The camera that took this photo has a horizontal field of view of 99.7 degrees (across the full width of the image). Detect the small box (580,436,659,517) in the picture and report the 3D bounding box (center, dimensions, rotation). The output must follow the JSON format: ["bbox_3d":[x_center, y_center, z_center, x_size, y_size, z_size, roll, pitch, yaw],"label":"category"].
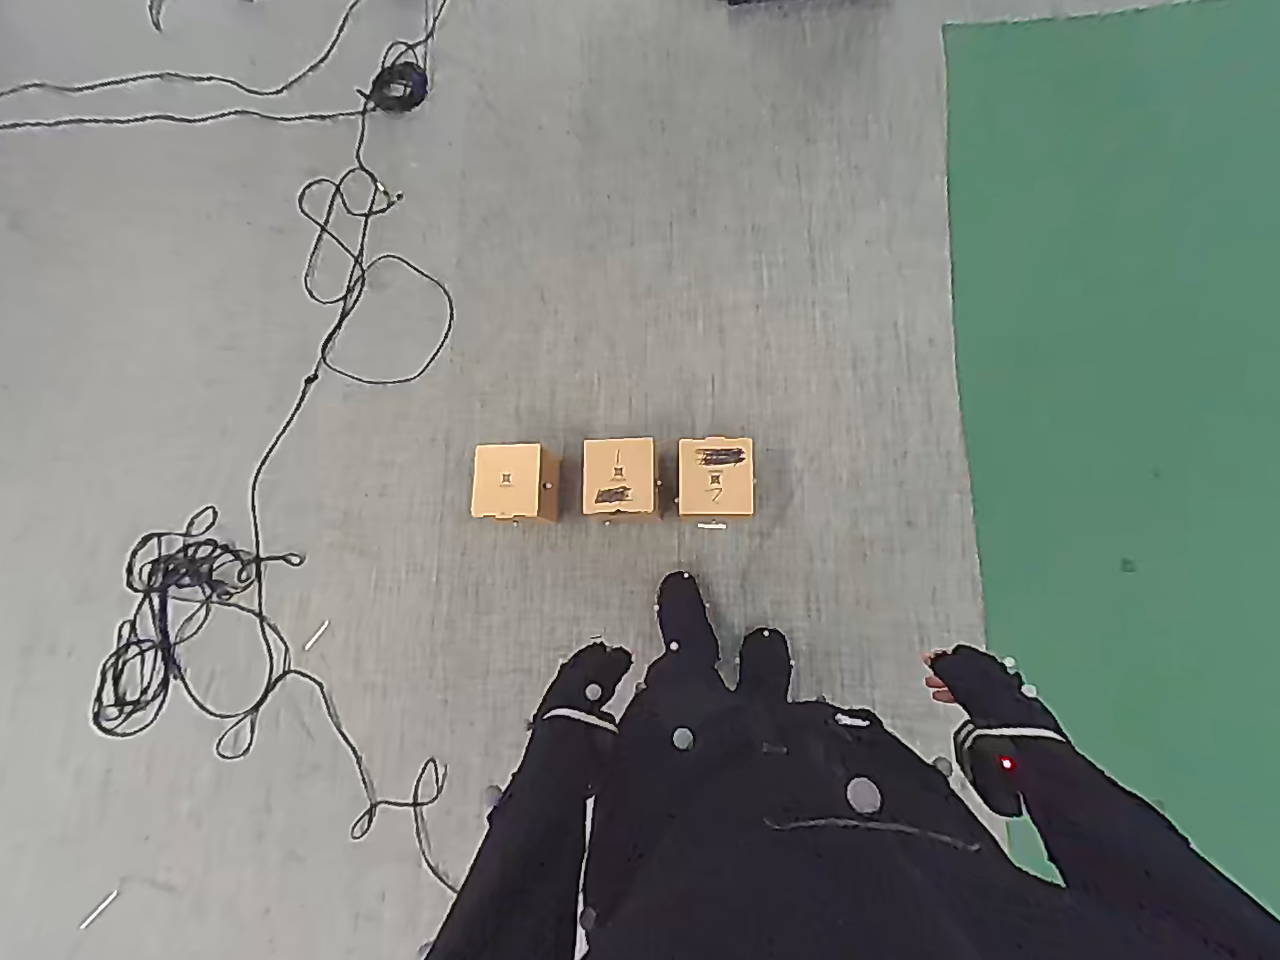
[{"bbox_3d":[-0.045,-0.002,1.326,0.168,0.176,0.179,-2,79,9],"label":"small box"}]

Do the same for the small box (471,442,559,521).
[{"bbox_3d":[-0.308,0.008,1.367,0.168,0.176,0.179,-1,80,9],"label":"small box"}]
